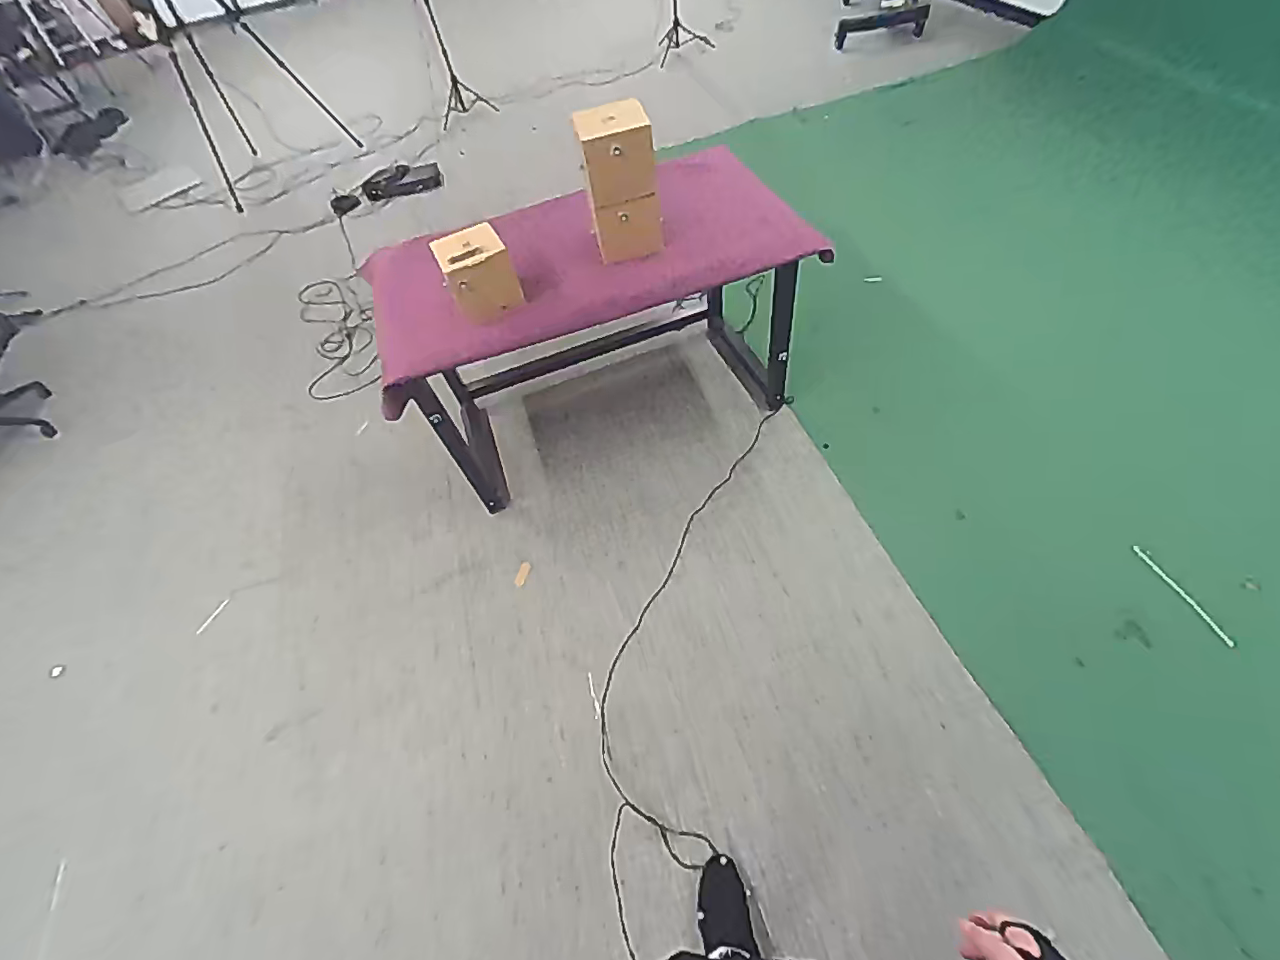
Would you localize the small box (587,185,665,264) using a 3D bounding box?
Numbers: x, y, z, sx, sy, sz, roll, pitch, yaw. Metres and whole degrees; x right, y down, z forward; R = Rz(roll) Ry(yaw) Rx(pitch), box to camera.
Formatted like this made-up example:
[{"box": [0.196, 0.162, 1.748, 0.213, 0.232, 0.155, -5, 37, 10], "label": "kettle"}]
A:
[{"box": [-0.037, -0.731, 1.512, 0.179, 0.176, 0.168, -13, 54, -1], "label": "small box"}]

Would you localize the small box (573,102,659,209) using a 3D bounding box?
[{"box": [-0.059, -0.821, 1.379, 0.179, 0.176, 0.168, -14, 55, -1], "label": "small box"}]
